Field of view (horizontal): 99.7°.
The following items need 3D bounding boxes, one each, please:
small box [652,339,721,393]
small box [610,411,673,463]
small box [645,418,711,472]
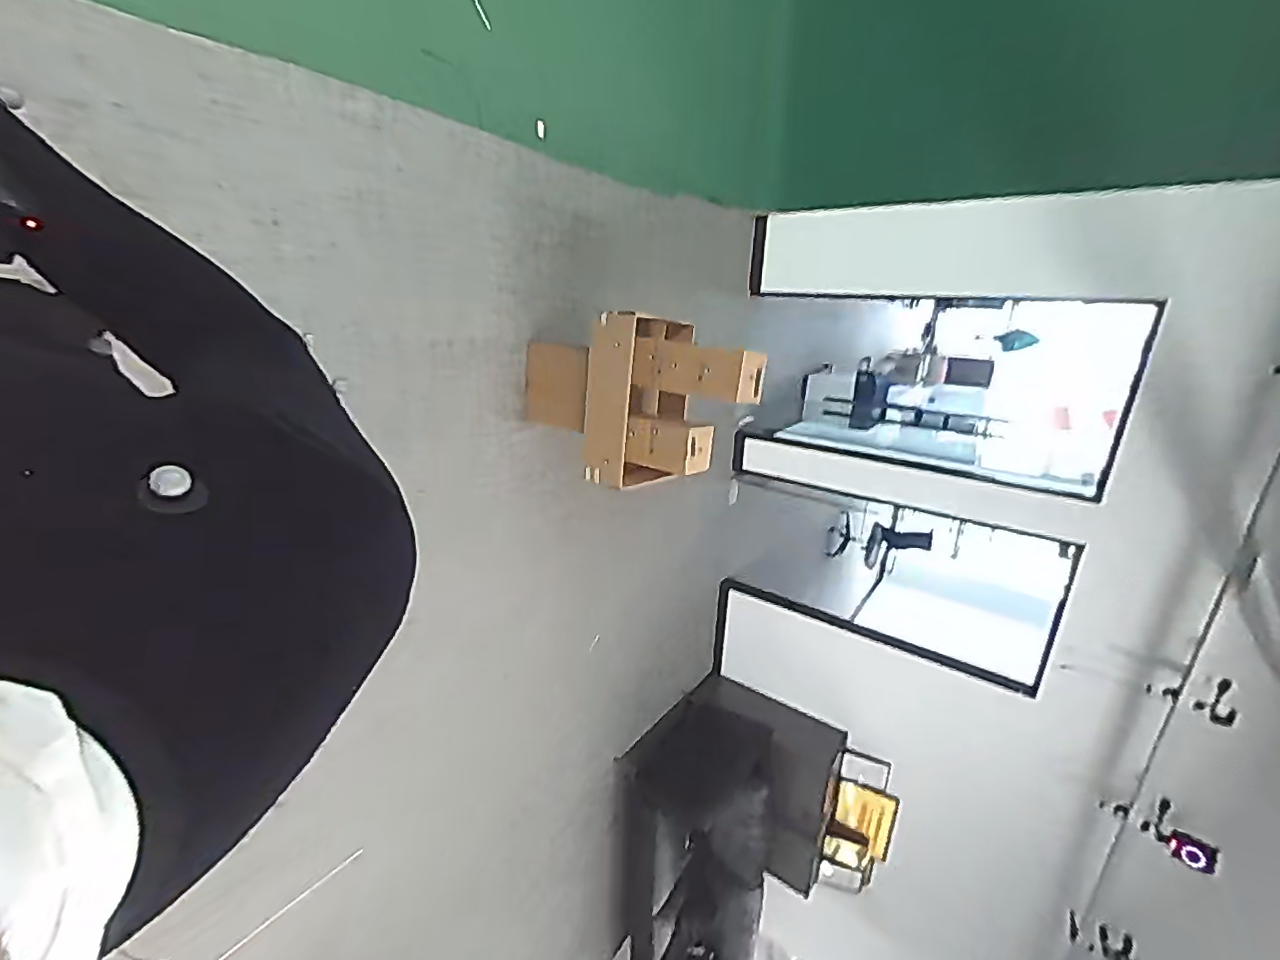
[{"bbox_3d":[0.159,-0.396,1.884,0.179,0.176,0.168,-12,113,-53],"label":"small box"},{"bbox_3d":[0.003,-0.167,2.046,0.179,0.176,0.168,-14,113,-53],"label":"small box"},{"bbox_3d":[0.135,-0.131,1.955,0.179,0.176,0.168,-14,114,-53],"label":"small box"}]
